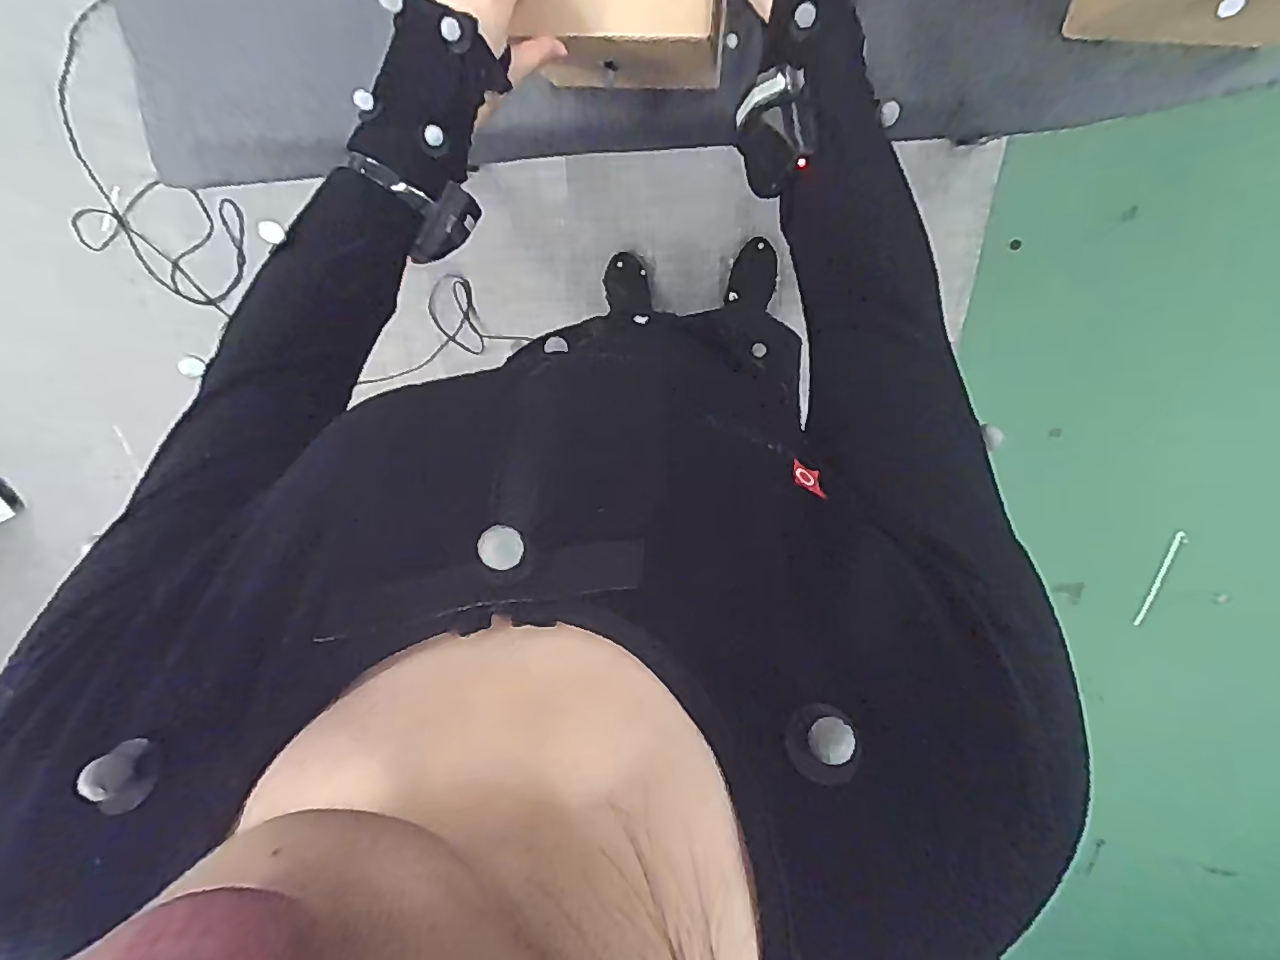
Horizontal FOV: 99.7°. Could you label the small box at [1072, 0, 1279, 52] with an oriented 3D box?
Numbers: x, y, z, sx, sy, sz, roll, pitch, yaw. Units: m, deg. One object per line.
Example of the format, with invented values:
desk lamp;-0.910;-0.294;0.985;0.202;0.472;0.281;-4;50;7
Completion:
small box;0.466;-0.433;0.384;0.179;0.176;0.168;8;114;6
